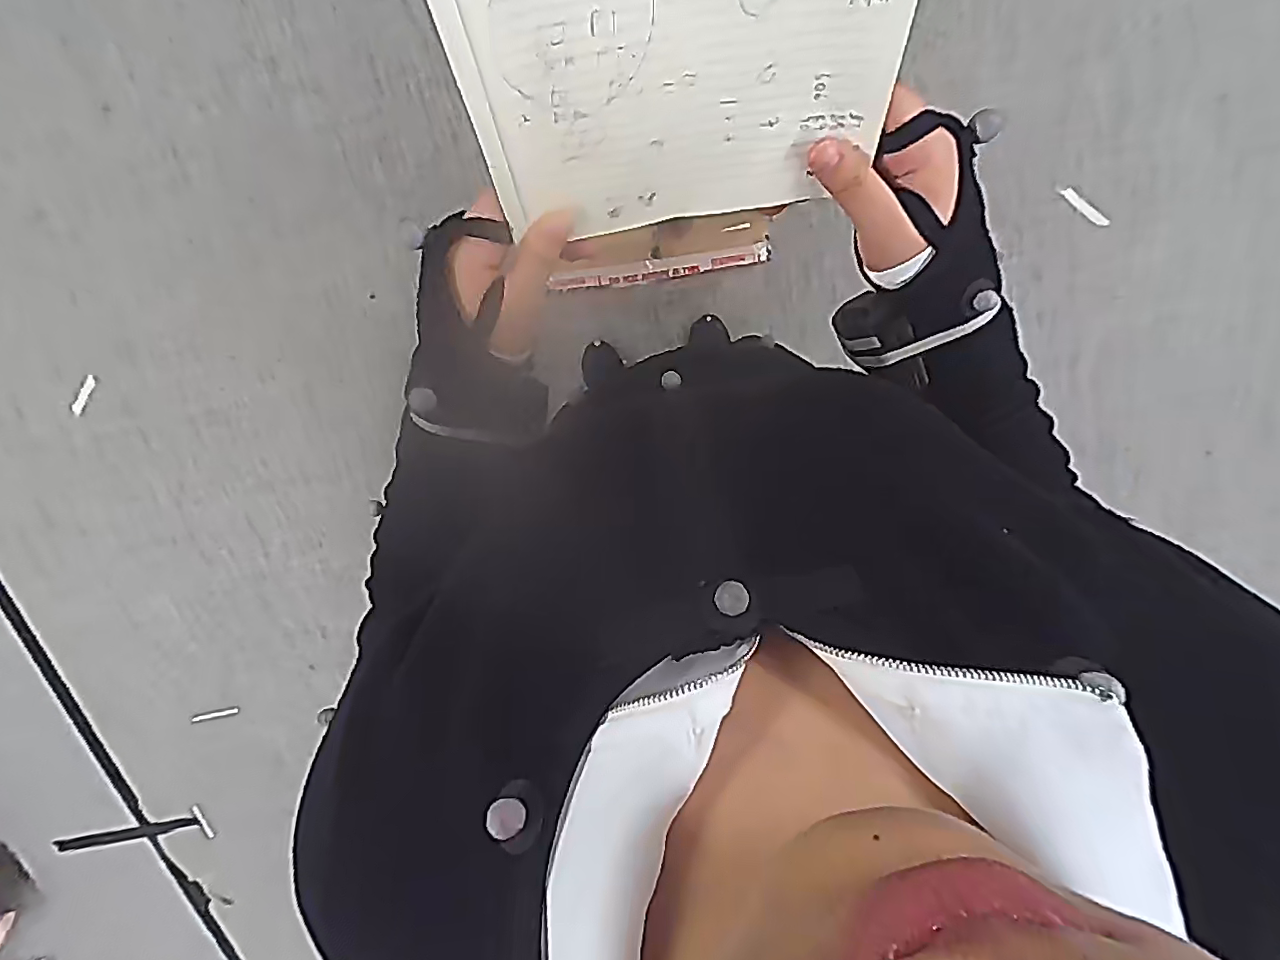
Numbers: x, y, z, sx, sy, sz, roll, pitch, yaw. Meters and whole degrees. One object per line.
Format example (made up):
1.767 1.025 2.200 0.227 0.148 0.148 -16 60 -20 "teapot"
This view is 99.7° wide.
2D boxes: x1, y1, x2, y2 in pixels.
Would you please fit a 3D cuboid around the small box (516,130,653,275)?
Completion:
-0.075 -0.408 0.820 0.179 0.176 0.168 -5 108 2 "small box"

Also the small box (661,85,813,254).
0.137 -0.451 0.812 0.179 0.176 0.168 -14 107 2 "small box"
